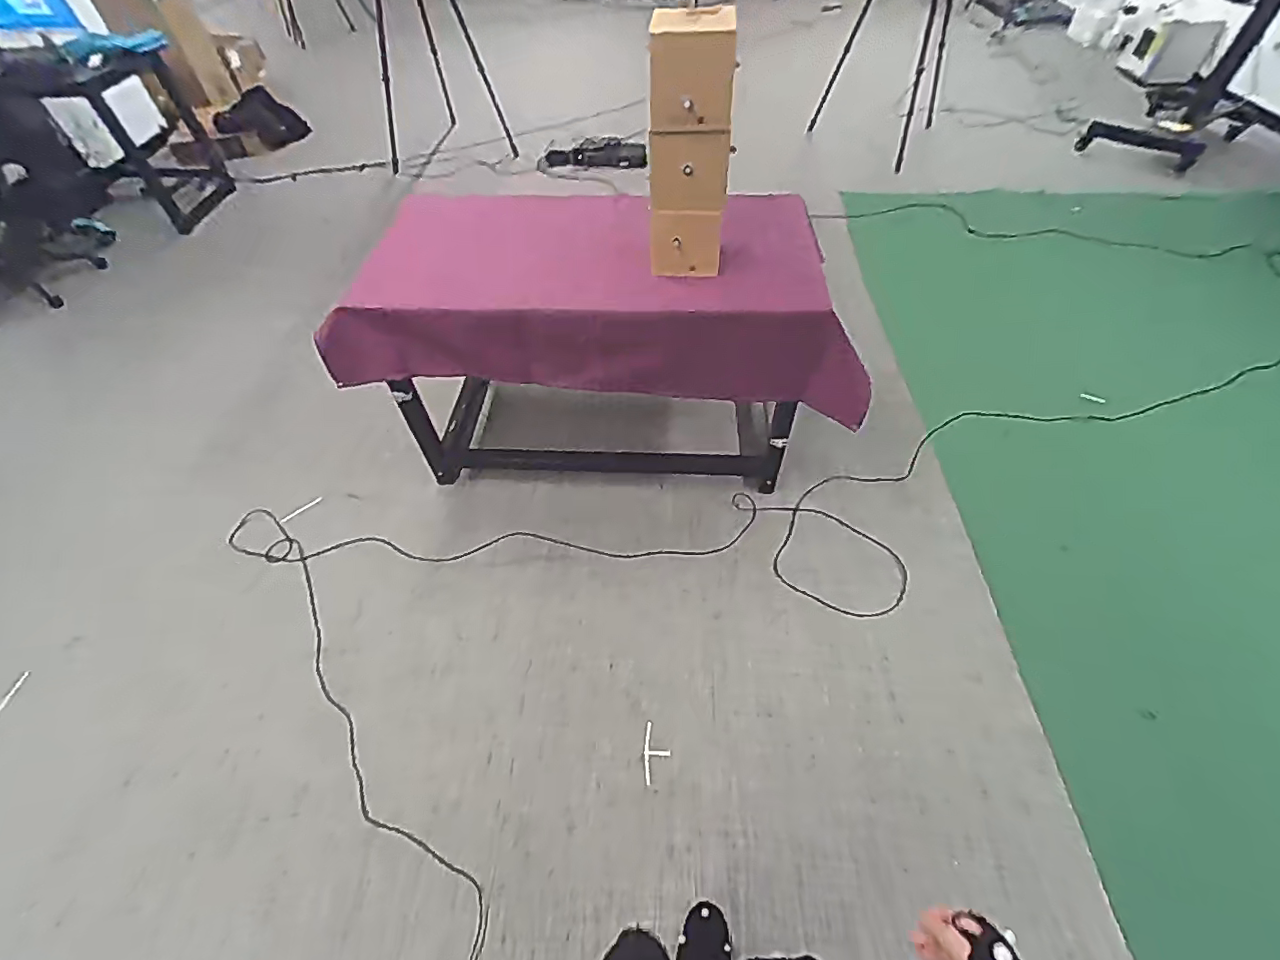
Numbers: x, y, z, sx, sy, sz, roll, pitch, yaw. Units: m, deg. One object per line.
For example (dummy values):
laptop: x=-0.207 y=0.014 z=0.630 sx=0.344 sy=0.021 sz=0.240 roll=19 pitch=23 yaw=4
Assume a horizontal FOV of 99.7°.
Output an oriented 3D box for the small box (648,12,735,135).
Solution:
small box: x=0.105 y=-0.838 z=1.116 sx=0.168 sy=0.176 sz=0.179 roll=1 pitch=51 yaw=5

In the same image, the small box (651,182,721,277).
small box: x=0.118 y=-0.633 z=1.373 sx=0.168 sy=0.176 sz=0.179 roll=3 pitch=50 yaw=5
